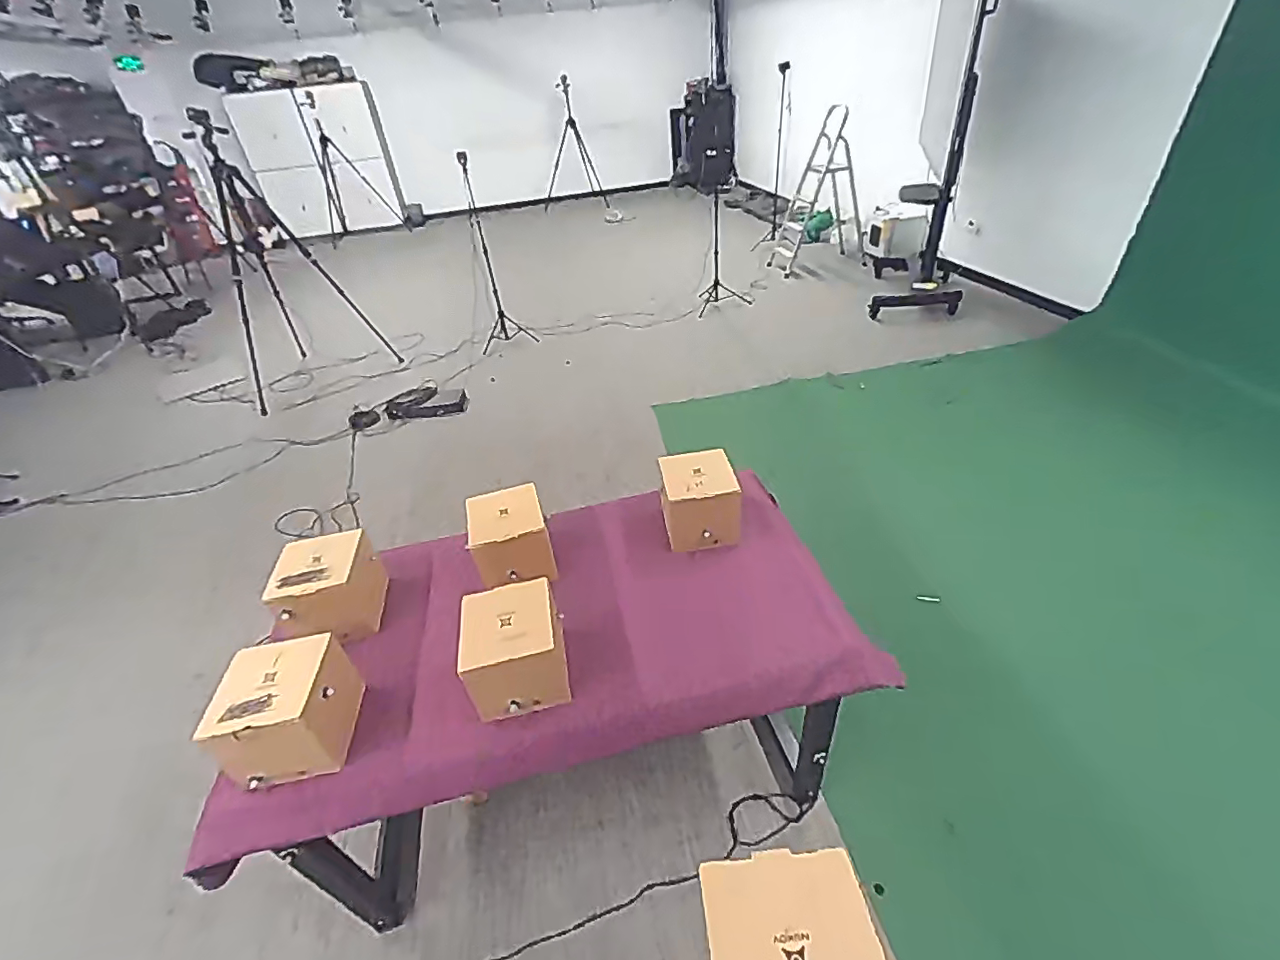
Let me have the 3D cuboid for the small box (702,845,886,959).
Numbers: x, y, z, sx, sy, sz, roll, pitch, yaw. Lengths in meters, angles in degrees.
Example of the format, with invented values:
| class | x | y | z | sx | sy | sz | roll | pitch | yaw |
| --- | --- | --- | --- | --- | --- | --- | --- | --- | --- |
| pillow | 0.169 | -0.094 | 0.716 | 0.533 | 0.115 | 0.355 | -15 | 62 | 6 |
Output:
| class | x | y | z | sx | sy | sz | roll | pitch | yaw |
| --- | --- | --- | --- | --- | --- | --- | --- | --- | --- |
| small box | 0.158 | 0.524 | 0.563 | 0.168 | 0.176 | 0.179 | -7 | 29 | 0 |

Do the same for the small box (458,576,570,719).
| class | x | y | z | sx | sy | sz | roll | pitch | yaw |
| --- | --- | --- | --- | --- | --- | --- | --- | --- | --- |
| small box | -0.233 | 0.313 | 1.018 | 0.168 | 0.176 | 0.179 | -12 | 37 | -6 |

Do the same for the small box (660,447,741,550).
| class | x | y | z | sx | sy | sz | roll | pitch | yaw |
| --- | --- | --- | --- | --- | --- | --- | --- | --- | --- |
| small box | 0.143 | 0.044 | 1.314 | 0.168 | 0.176 | 0.179 | -9 | 38 | -2 |

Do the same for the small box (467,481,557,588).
| class | x | y | z | sx | sy | sz | roll | pitch | yaw |
| --- | --- | --- | --- | --- | --- | --- | --- | --- | --- |
| small box | -0.299 | 0.132 | 1.264 | 0.168 | 0.176 | 0.179 | -14 | 39 | -11 |

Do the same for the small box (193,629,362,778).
| class | x | y | z | sx | sy | sz | roll | pitch | yaw |
| --- | --- | --- | --- | --- | --- | --- | --- | --- | --- |
| small box | -0.618 | 0.398 | 0.954 | 0.168 | 0.176 | 0.179 | -9 | 36 | -5 |
